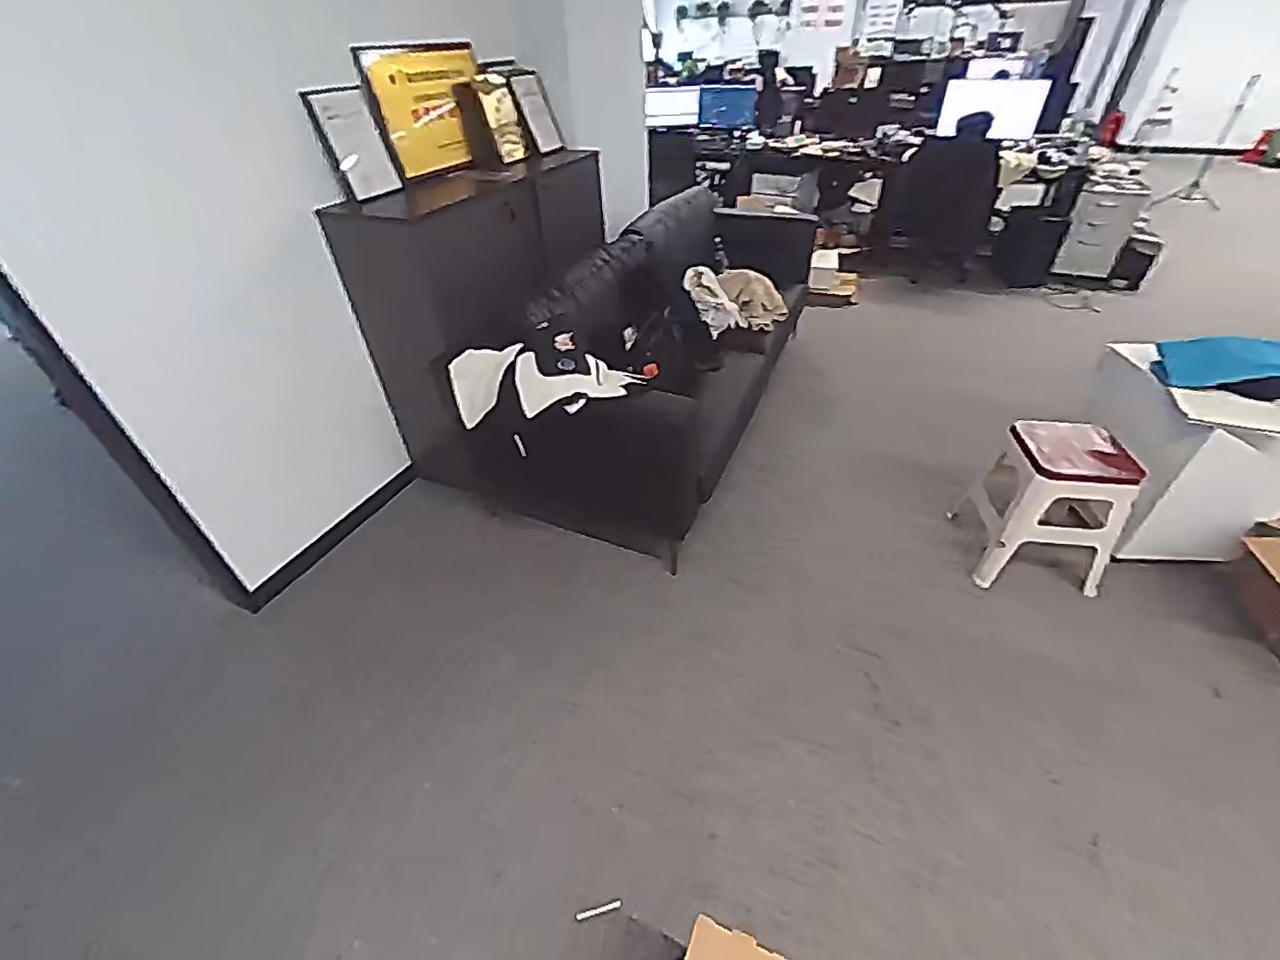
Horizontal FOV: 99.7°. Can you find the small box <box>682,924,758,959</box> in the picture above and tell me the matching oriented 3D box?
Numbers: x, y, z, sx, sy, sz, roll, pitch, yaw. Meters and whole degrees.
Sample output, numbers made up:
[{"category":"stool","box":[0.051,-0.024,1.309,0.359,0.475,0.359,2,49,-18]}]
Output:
[{"category":"small box","box":[0.151,0.997,1.020,0.179,0.176,0.168,15,43,20]}]
